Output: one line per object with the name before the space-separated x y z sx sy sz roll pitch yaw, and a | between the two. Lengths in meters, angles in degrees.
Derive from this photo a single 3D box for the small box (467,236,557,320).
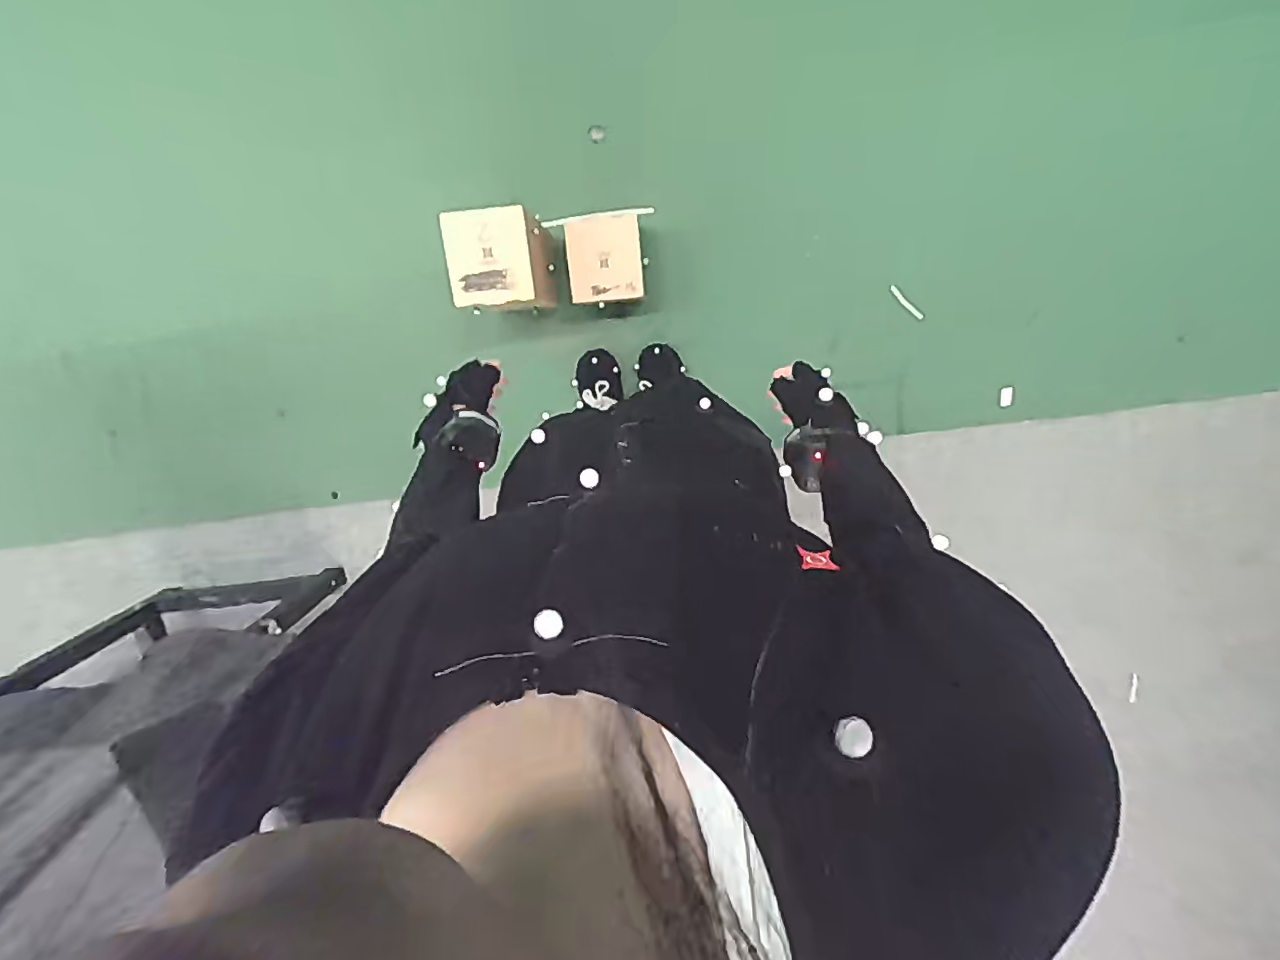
small box | -0.300 -0.480 1.306 0.168 0.176 0.179 -3 105 2
